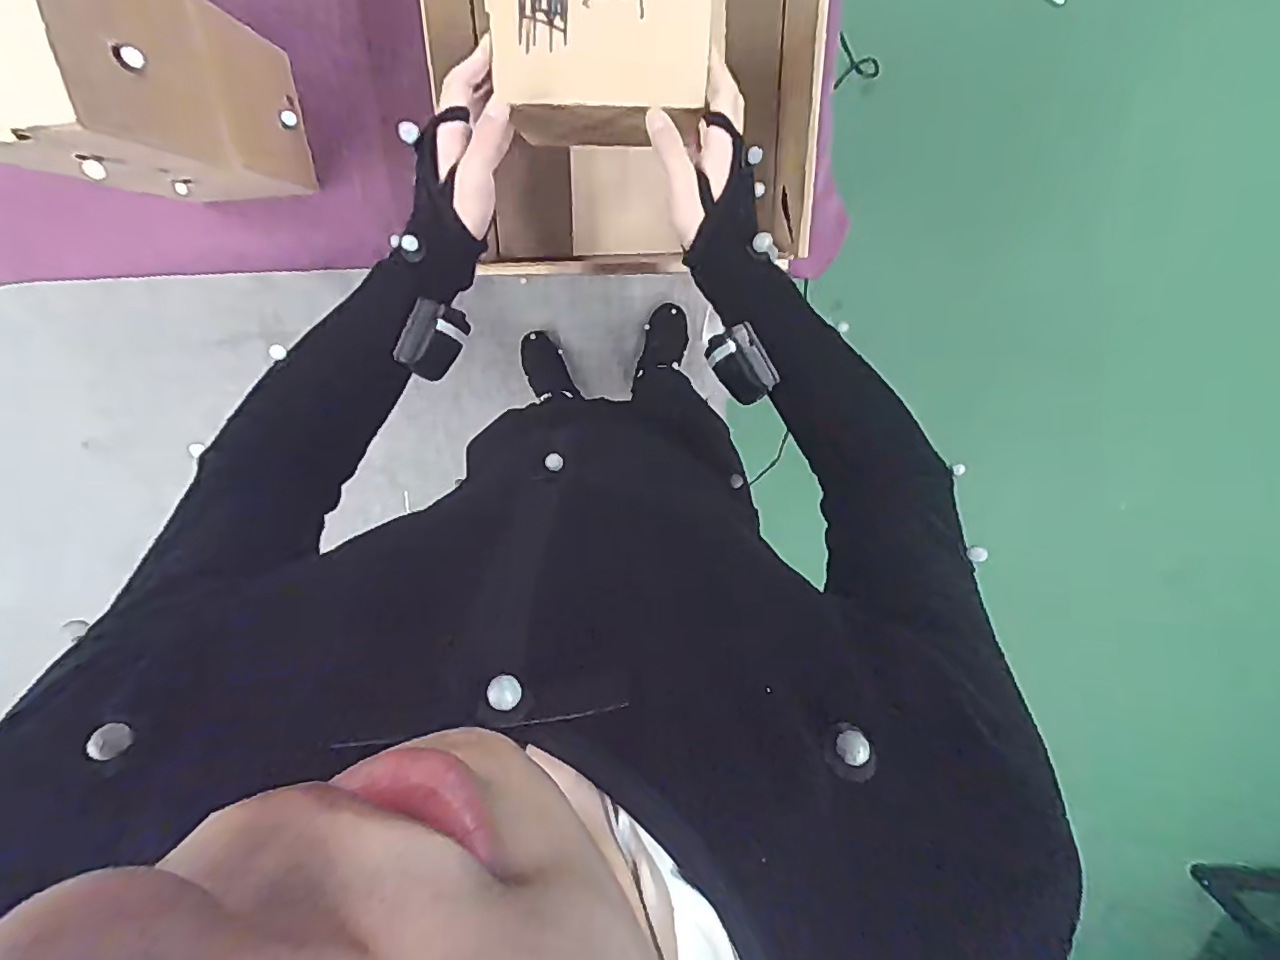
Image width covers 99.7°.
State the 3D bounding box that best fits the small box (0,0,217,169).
[{"bbox_3d":[-0.537,-0.392,0.488,0.168,0.176,0.179,-2,110,1],"label":"small box"}]

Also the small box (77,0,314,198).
[{"bbox_3d":[-0.536,-0.443,0.644,0.179,0.176,0.168,-3,110,1],"label":"small box"}]

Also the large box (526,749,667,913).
[{"bbox_3d":[-0.150,1.292,2.008,0.408,0.320,0.320,-30,108,10],"label":"large box"}]
